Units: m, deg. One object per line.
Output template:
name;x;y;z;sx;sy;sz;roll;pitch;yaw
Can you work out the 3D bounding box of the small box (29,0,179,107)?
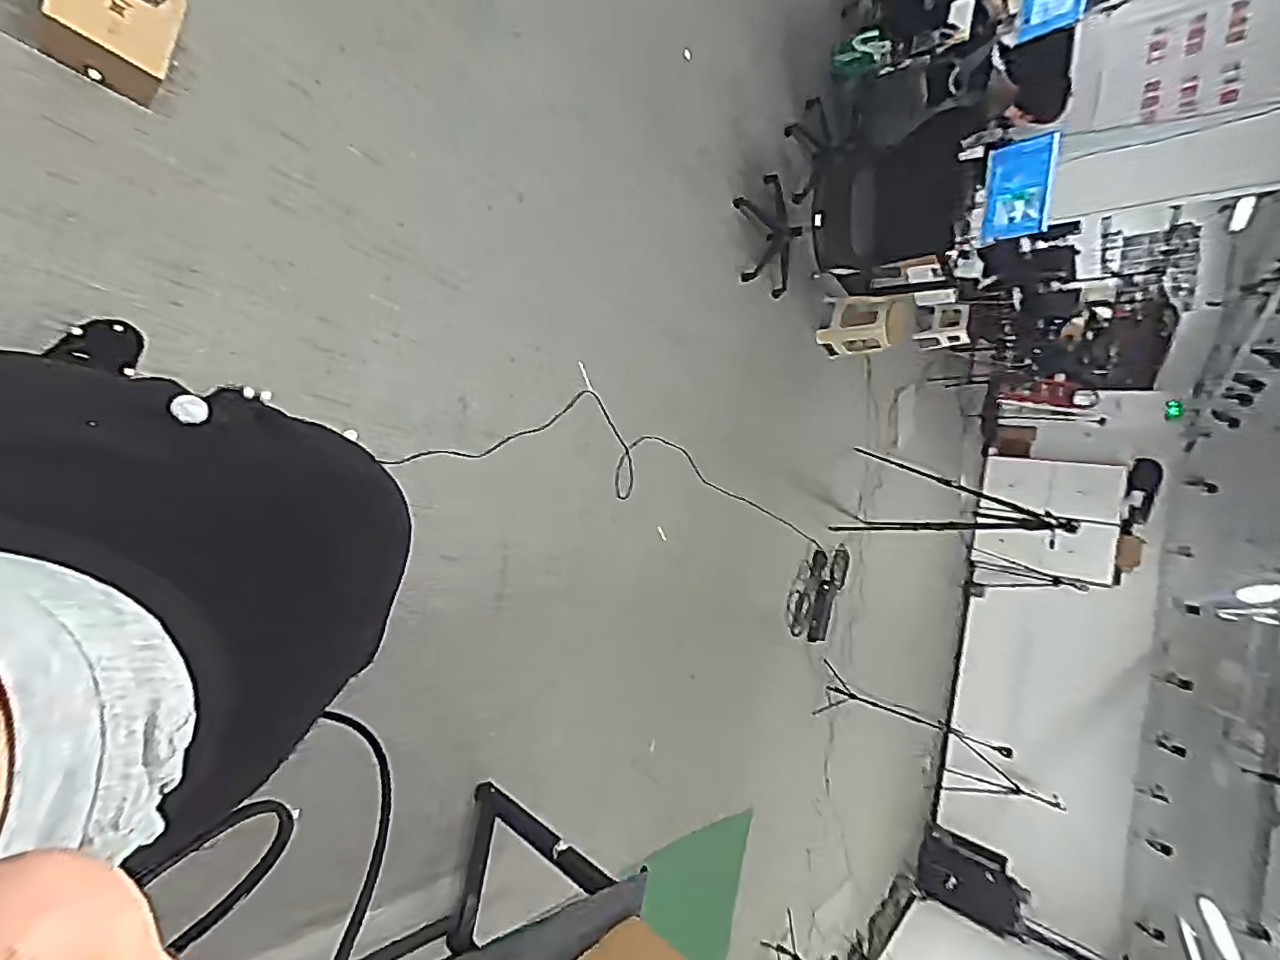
small box;-1.012;-0.860;1.020;0.168;0.176;0.179;16;85;-50
